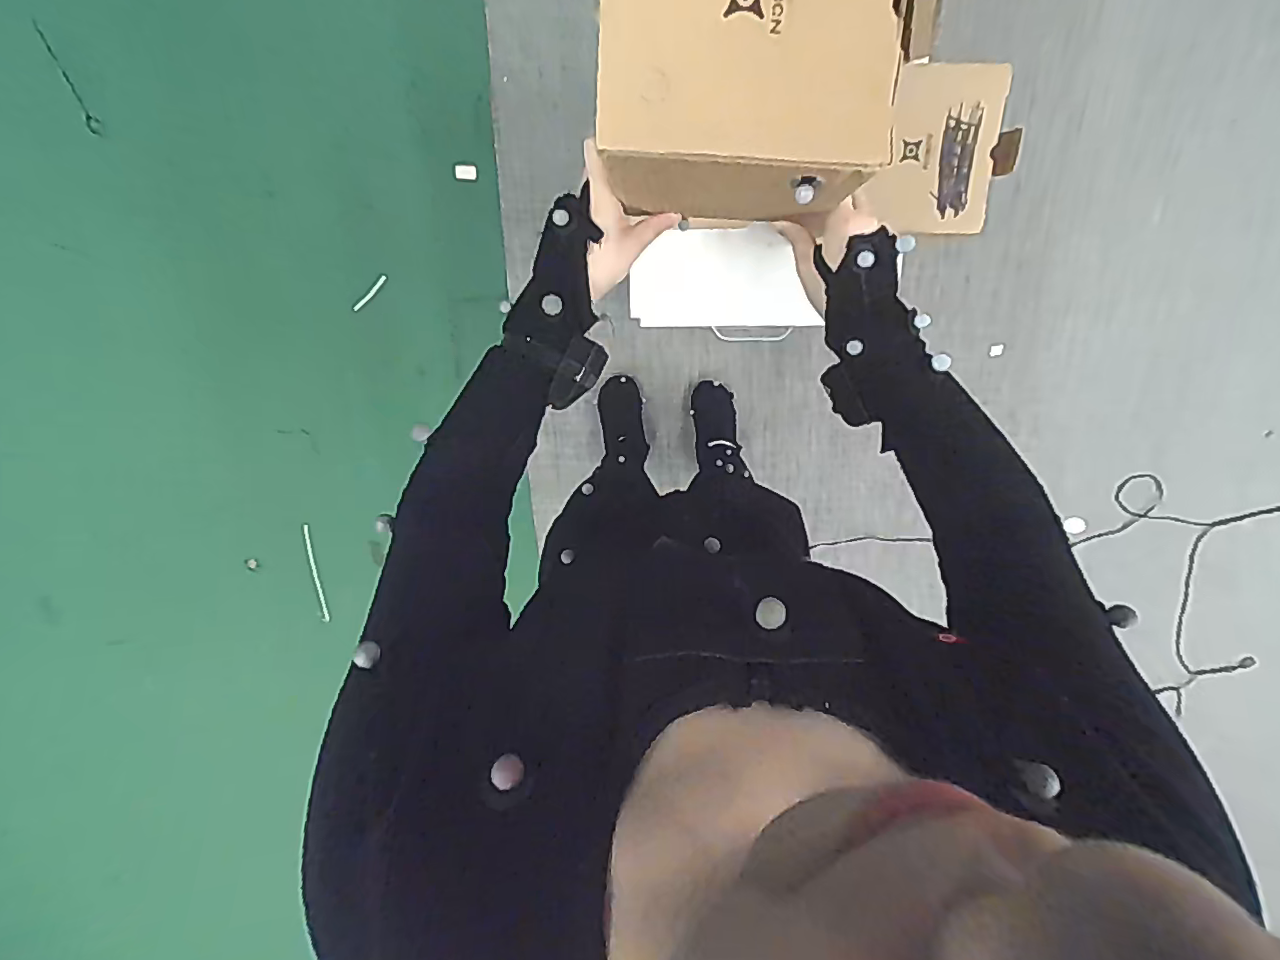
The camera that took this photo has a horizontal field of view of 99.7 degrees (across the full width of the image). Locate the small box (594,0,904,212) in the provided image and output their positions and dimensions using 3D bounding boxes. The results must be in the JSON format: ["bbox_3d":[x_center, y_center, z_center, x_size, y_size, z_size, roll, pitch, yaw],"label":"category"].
[{"bbox_3d":[0.067,-0.302,0.385,0.179,0.176,0.168,4,104,1],"label":"small box"}]

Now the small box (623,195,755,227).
[{"bbox_3d":[0.065,-0.410,0.660,0.179,0.176,0.168,-2,108,-2],"label":"small box"}]
